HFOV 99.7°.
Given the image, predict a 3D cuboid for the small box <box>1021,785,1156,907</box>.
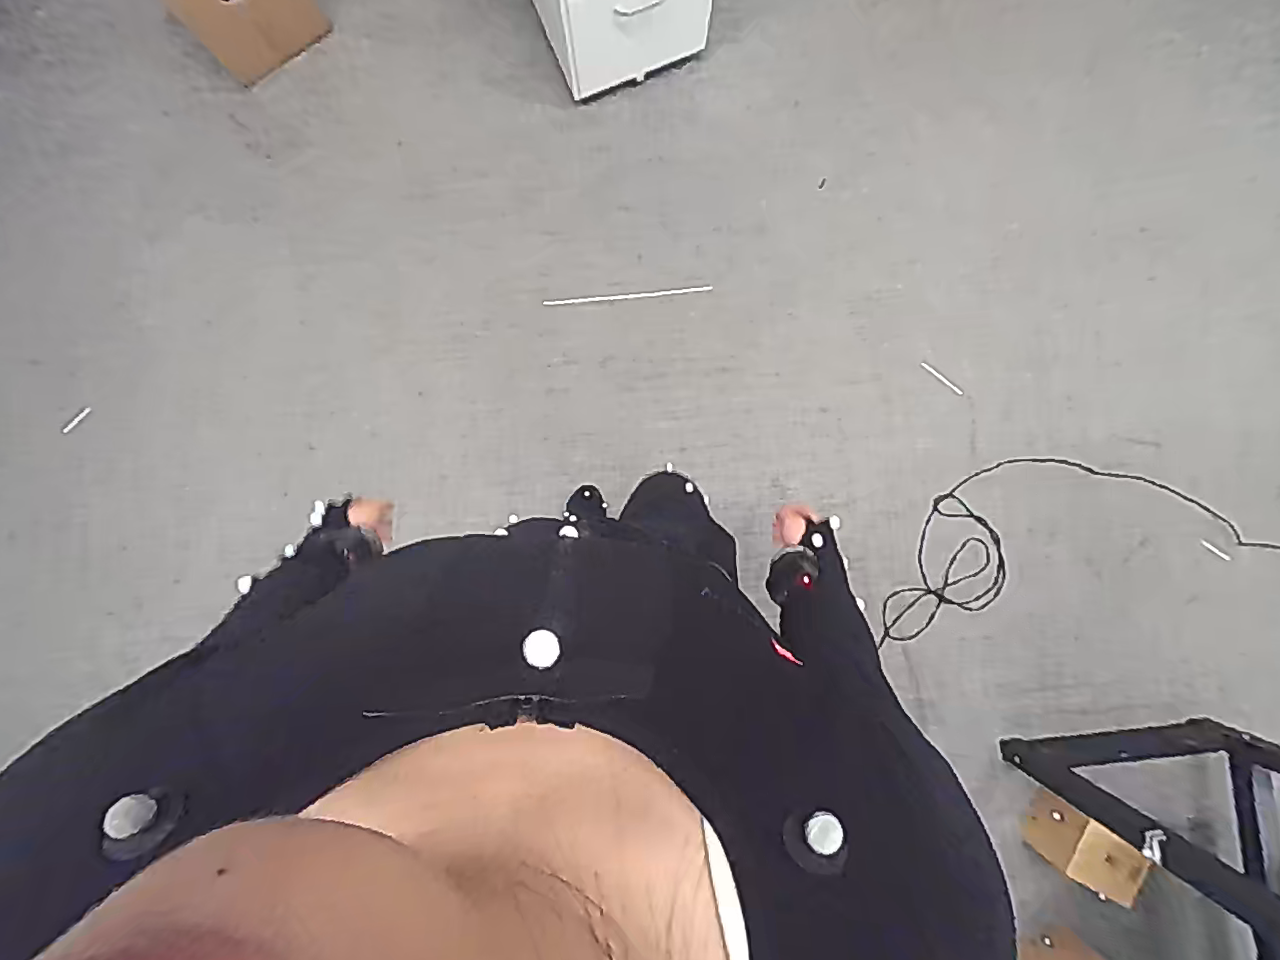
[{"bbox_3d":[1.125,0.913,1.374,0.179,0.176,0.168,28,86,0],"label":"small box"}]
